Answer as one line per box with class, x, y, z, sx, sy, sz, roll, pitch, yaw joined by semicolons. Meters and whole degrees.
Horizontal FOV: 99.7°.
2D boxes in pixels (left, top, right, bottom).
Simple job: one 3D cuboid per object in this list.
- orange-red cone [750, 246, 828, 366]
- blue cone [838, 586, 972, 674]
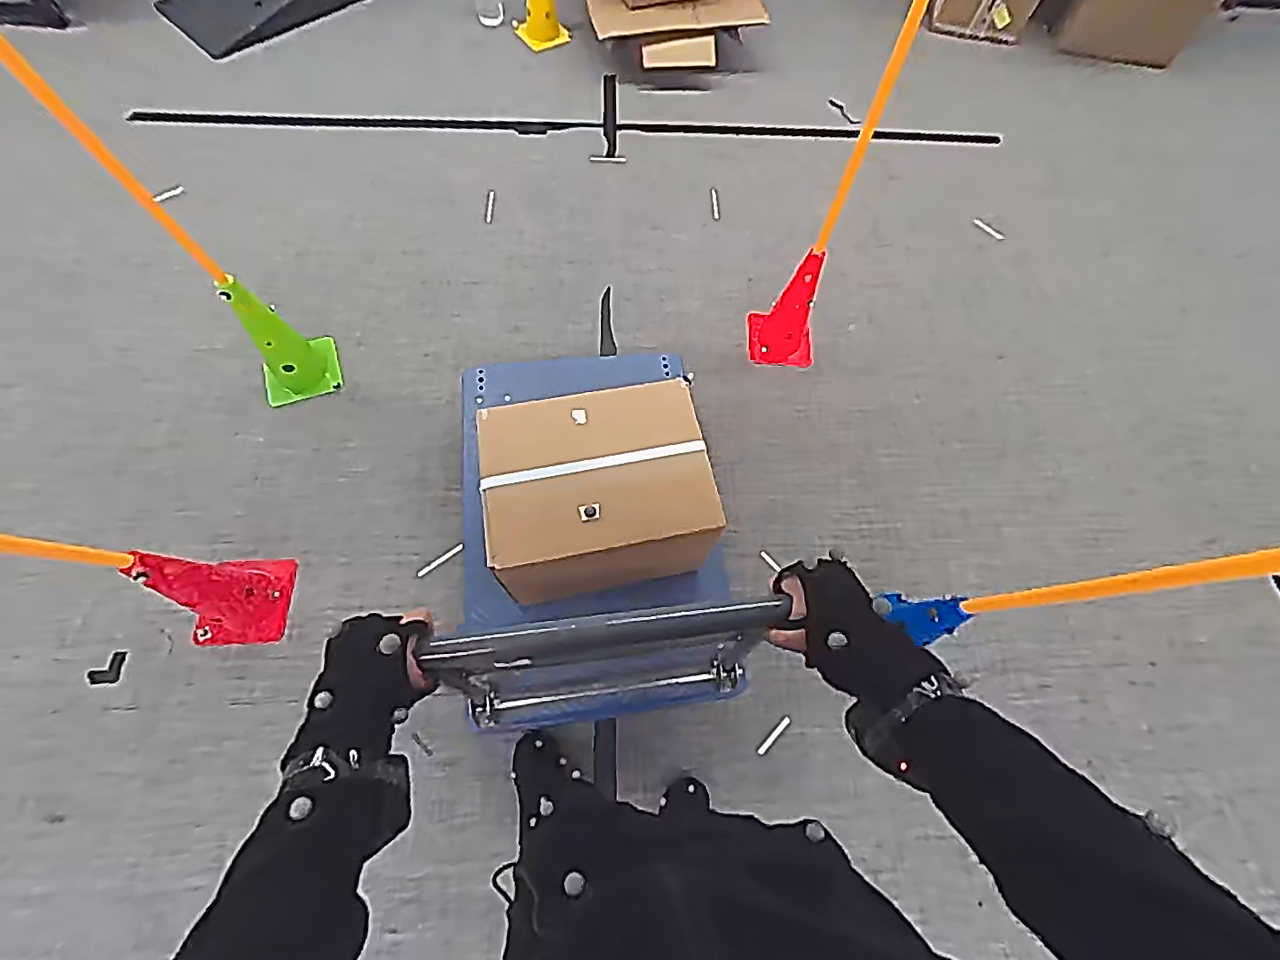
orange-red cone;0.458;-0.518;1.546;0.199;0.360;0.198;6;66;-2
blue cone;0.611;0.308;1.196;0.193;0.380;0.192;-4;65;-6
